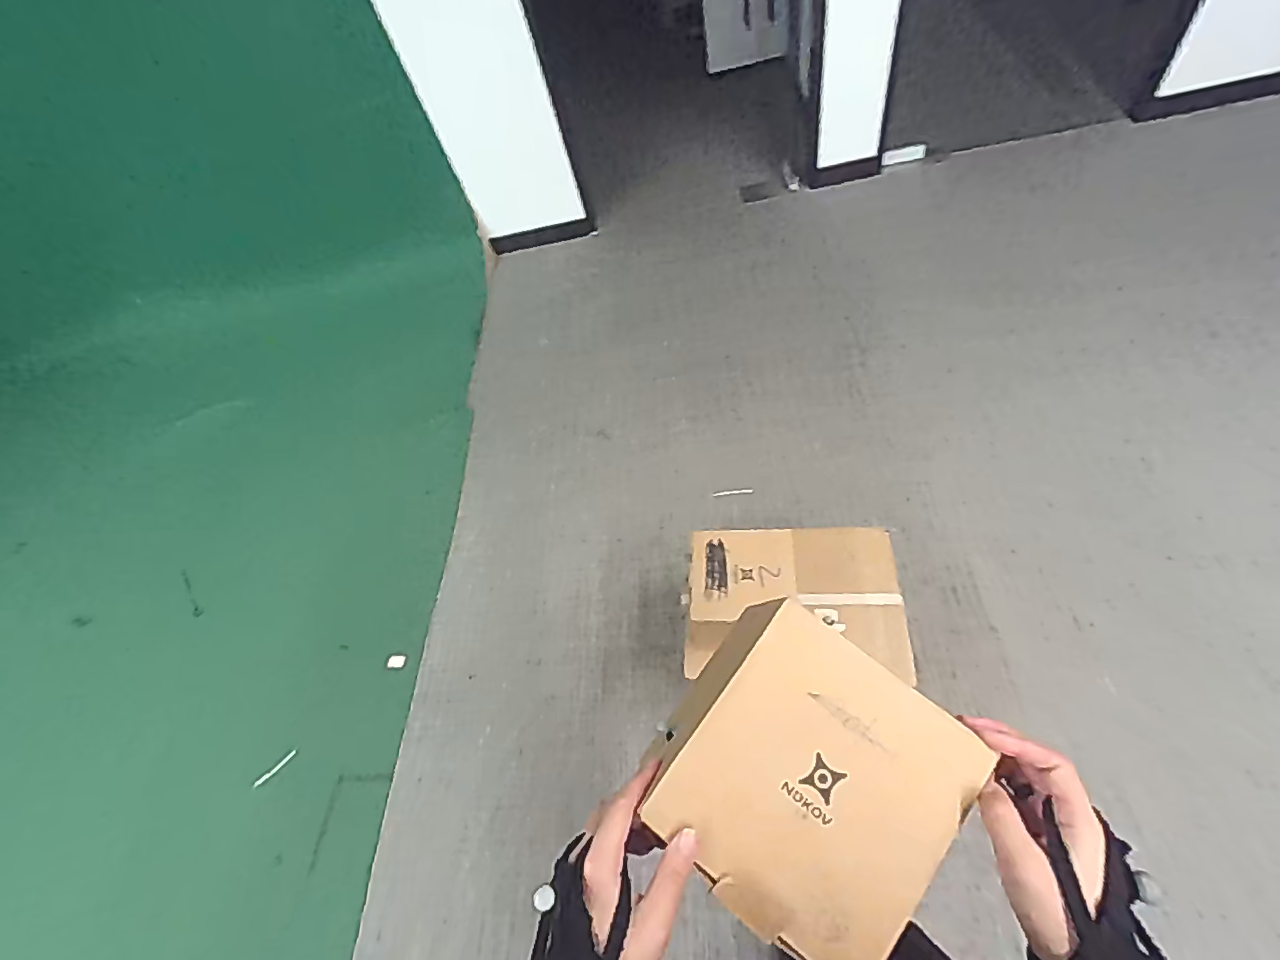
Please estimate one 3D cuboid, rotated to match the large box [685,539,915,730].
[{"bbox_3d":[0.312,0.337,1.160,0.408,0.320,0.320,-2,56,11],"label":"large box"}]
